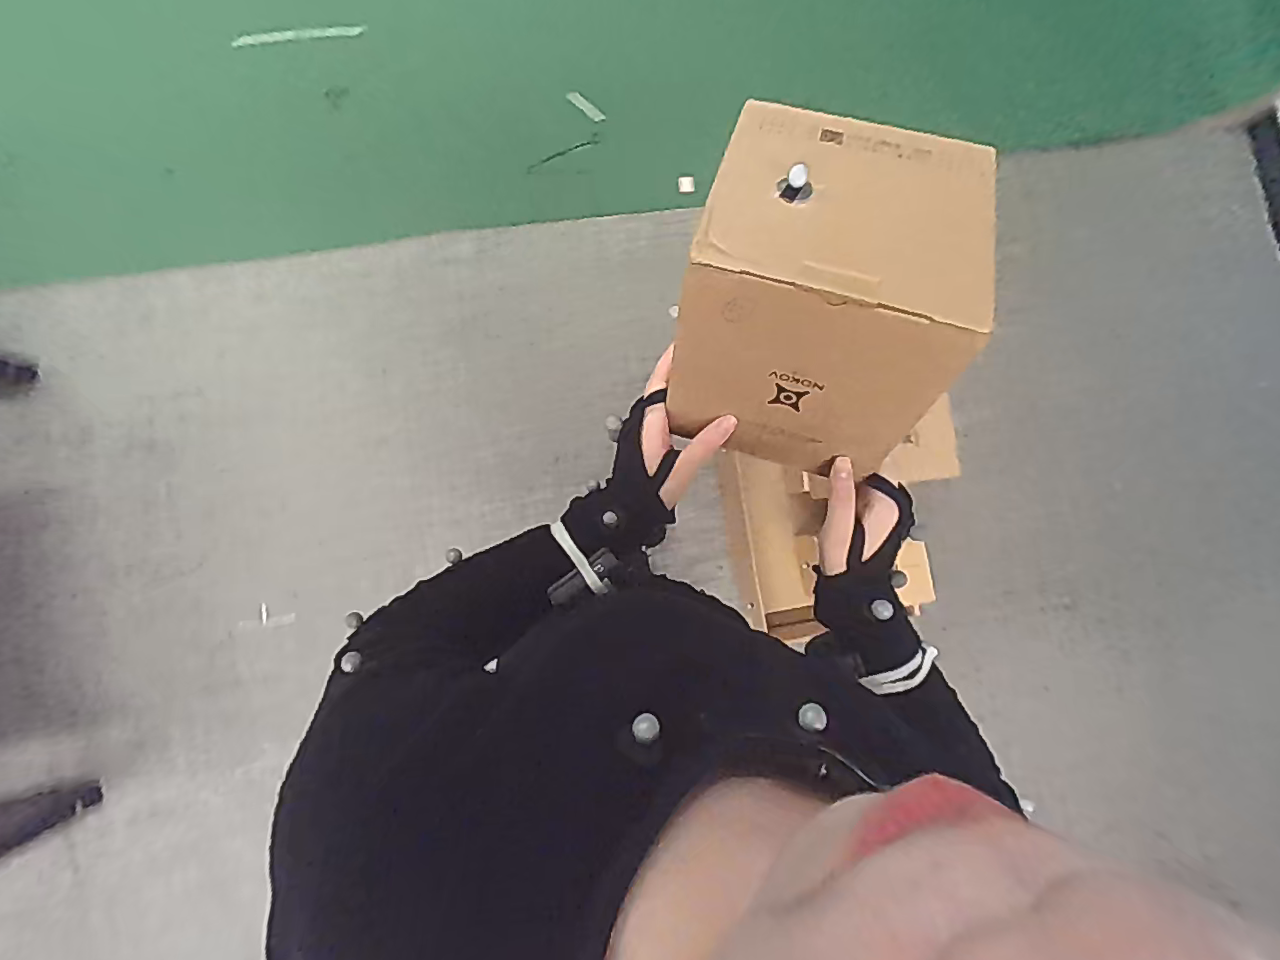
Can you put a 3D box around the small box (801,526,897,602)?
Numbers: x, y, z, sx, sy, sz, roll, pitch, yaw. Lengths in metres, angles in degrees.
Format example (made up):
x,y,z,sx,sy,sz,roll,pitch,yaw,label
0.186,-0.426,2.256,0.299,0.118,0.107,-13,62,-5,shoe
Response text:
x,y,z,sx,sy,sz,roll,pitch,yaw,label
0.529,0.214,1.400,0.179,0.176,0.168,-9,86,-3,small box

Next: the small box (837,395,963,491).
x,y,z,sx,sy,sz,roll,pitch,yaw,label
0.510,-0.069,1.093,0.179,0.176,0.168,-6,87,-4,small box

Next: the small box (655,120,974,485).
x,y,z,sx,sy,sz,roll,pitch,yaw,label
0.115,-0.125,0.401,0.168,0.179,0.176,16,63,6,small box

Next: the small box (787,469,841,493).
x,y,z,sx,sy,sz,roll,pitch,yaw,label
0.490,-0.056,1.421,0.179,0.176,0.168,-5,87,-3,small box
